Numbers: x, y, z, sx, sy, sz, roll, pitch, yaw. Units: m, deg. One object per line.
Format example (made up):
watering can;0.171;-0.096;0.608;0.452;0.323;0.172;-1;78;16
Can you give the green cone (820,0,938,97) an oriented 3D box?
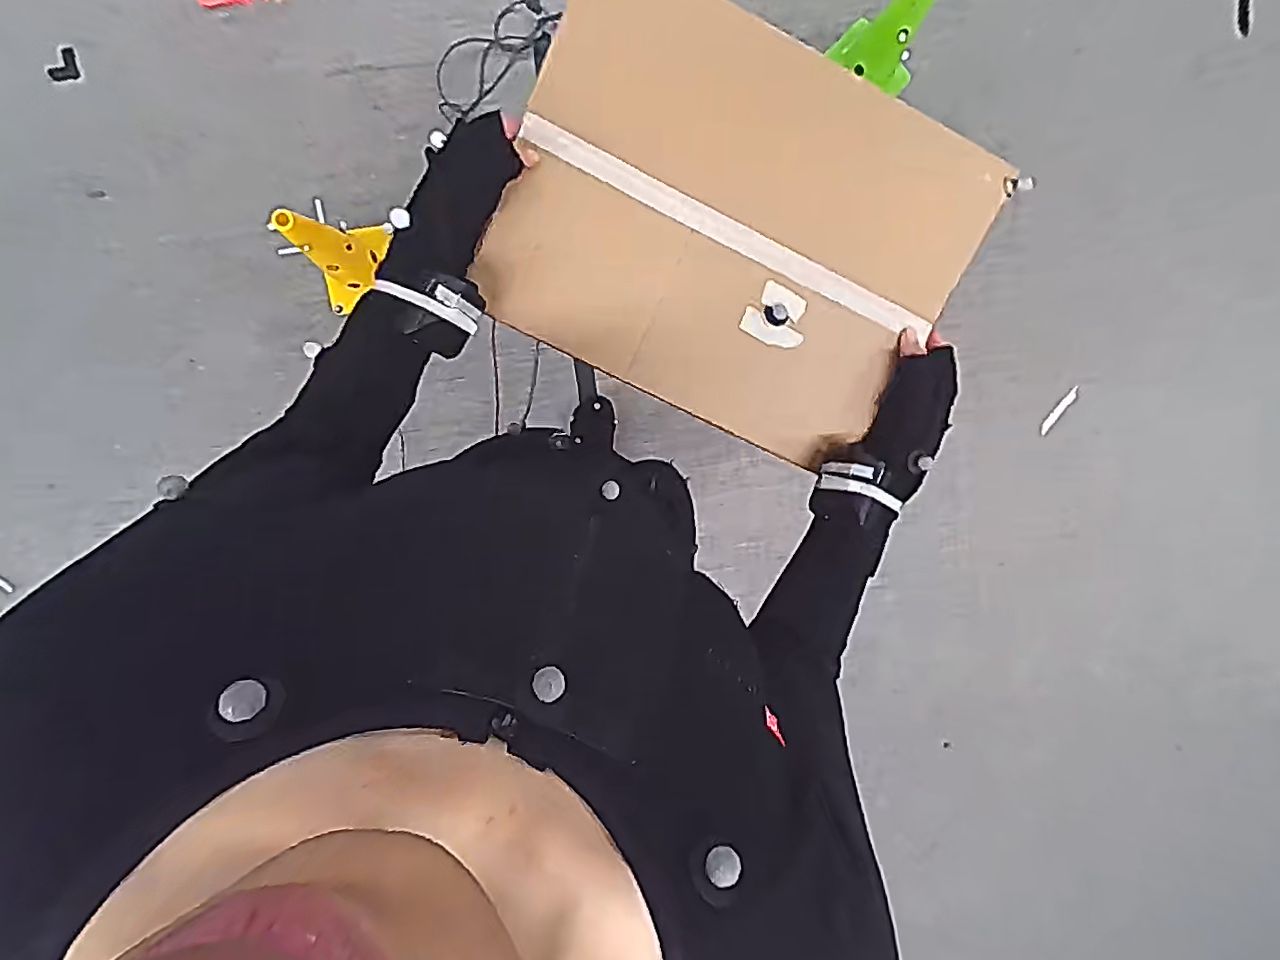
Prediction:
green cone;0.582;-1.018;1.203;0.200;0.368;0.202;44;91;-8

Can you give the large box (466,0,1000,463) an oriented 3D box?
large box;0.074;-0.258;0.630;0.408;0.320;0.320;24;101;-7
